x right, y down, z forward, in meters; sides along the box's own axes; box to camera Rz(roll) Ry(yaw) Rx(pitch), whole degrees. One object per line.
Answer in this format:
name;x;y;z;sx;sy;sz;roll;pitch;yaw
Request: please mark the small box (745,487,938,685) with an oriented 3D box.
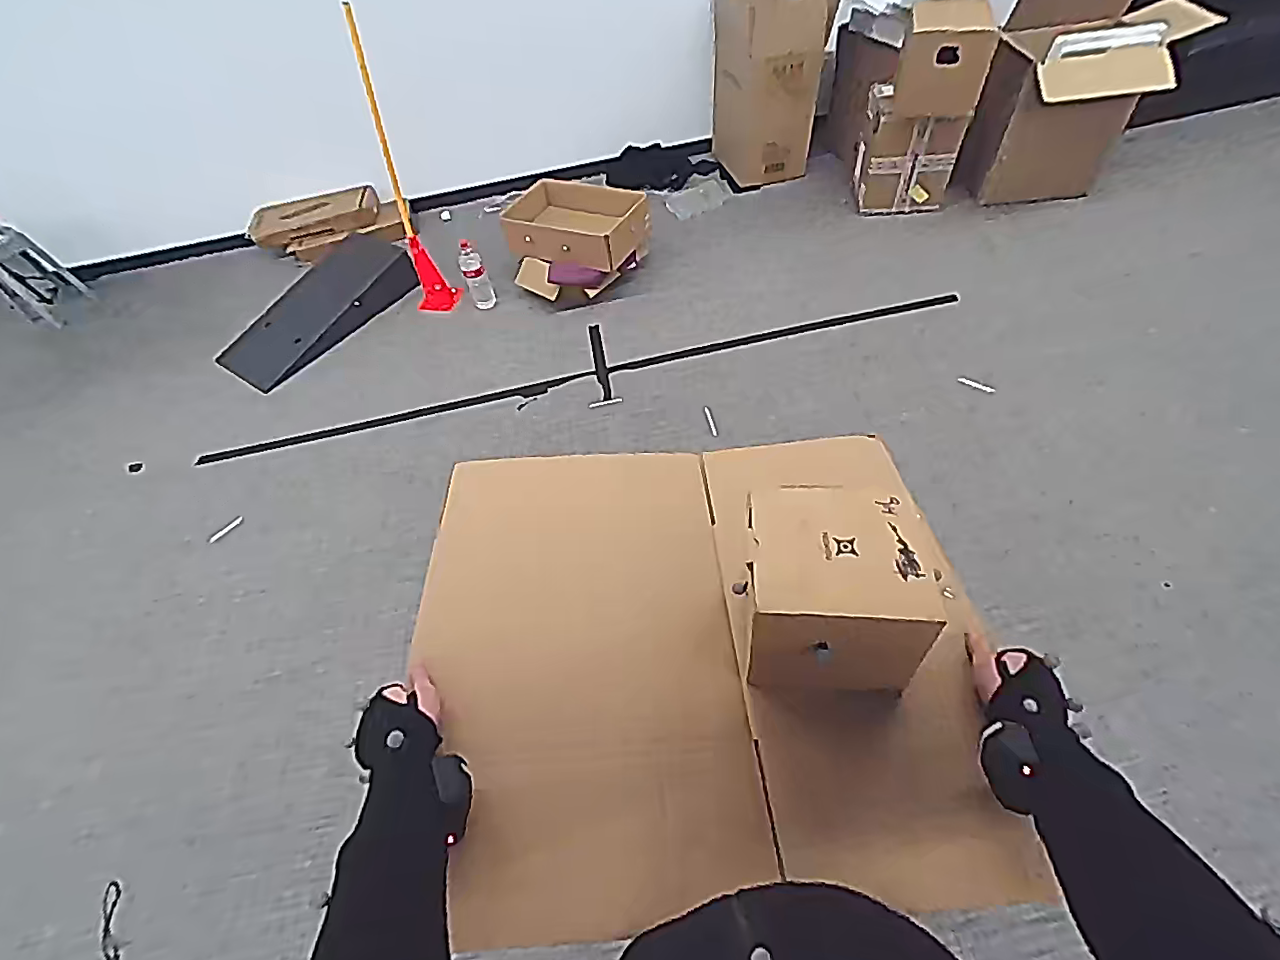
small box;0.213;0.125;0.626;0.179;0.176;0.168;0;48;9
